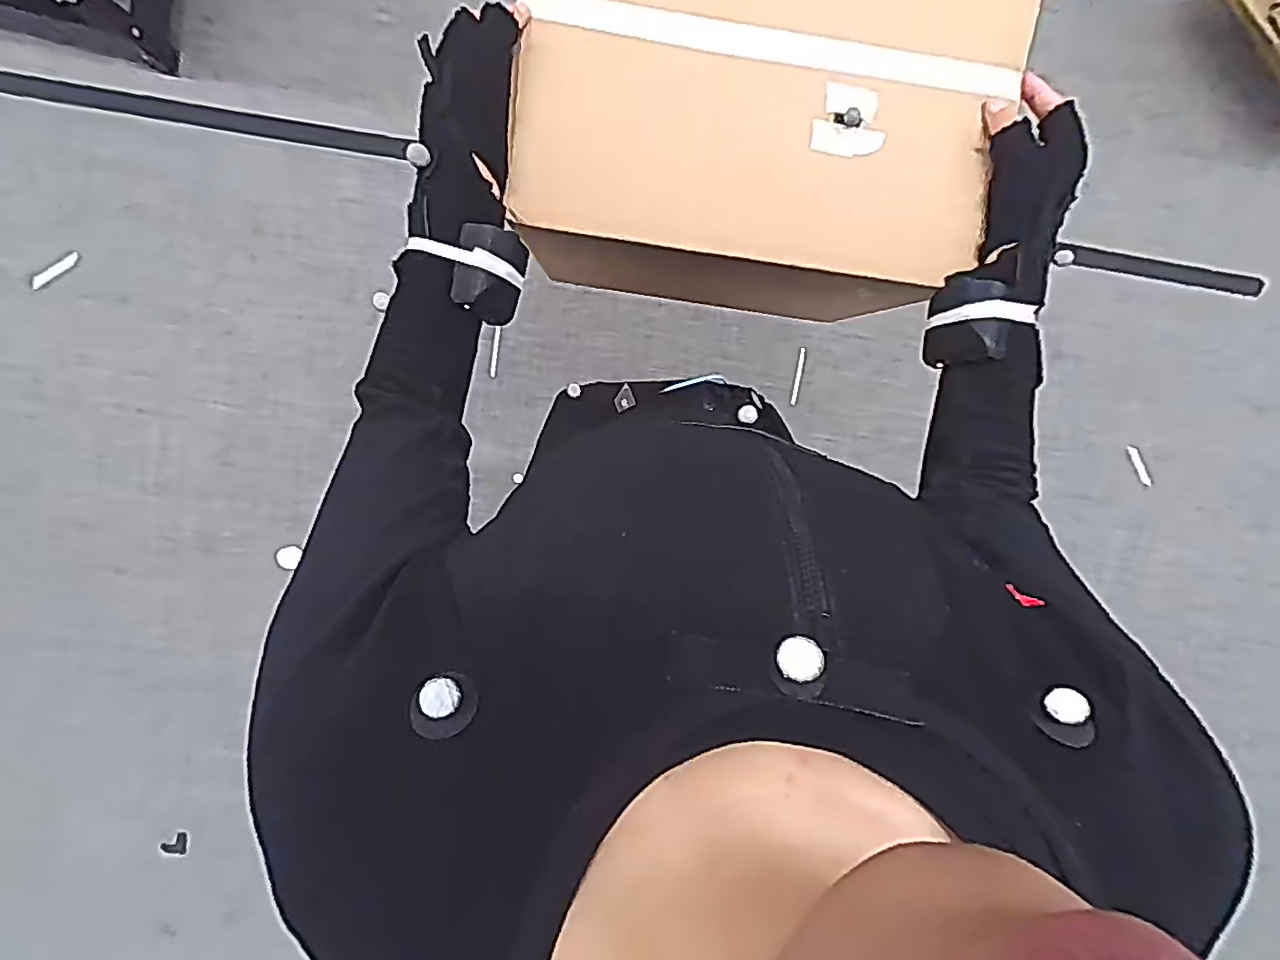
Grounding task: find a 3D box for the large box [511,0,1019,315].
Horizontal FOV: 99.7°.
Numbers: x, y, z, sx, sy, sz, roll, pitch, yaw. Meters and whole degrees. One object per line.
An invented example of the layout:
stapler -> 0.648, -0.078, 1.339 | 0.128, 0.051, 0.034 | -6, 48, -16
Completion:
large box -> 0.095, -0.375, 0.587 | 0.408, 0.320, 0.320 | 7, 102, -5
